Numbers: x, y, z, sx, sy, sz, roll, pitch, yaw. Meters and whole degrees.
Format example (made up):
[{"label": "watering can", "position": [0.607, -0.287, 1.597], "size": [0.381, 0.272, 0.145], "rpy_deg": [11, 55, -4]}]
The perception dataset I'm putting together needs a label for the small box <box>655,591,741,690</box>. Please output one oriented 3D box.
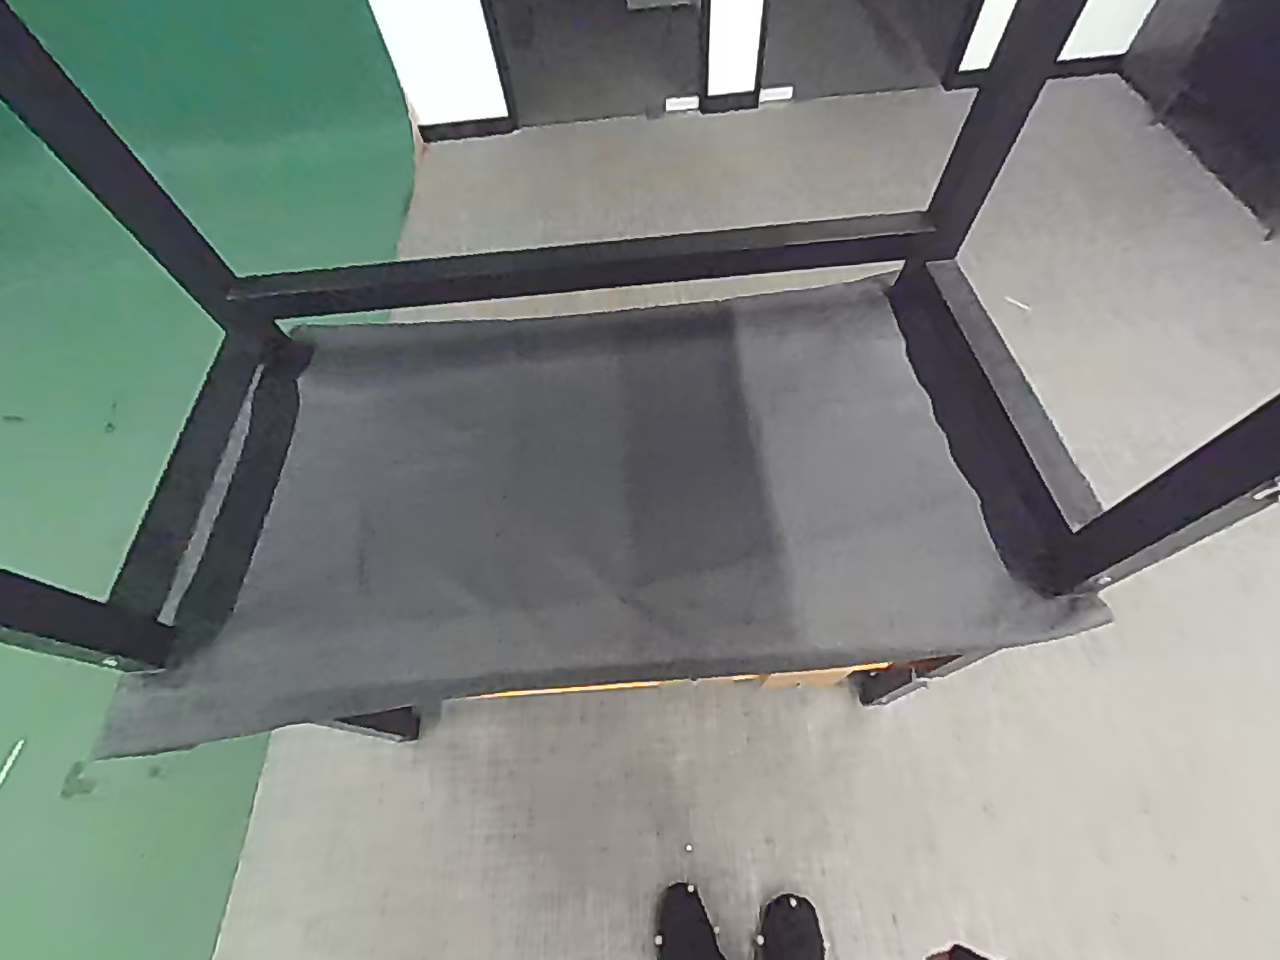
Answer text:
[{"label": "small box", "position": [0.123, 0.359, 1.189], "size": [0.168, 0.176, 0.179], "rpy_deg": [-5, 59, 1]}]
